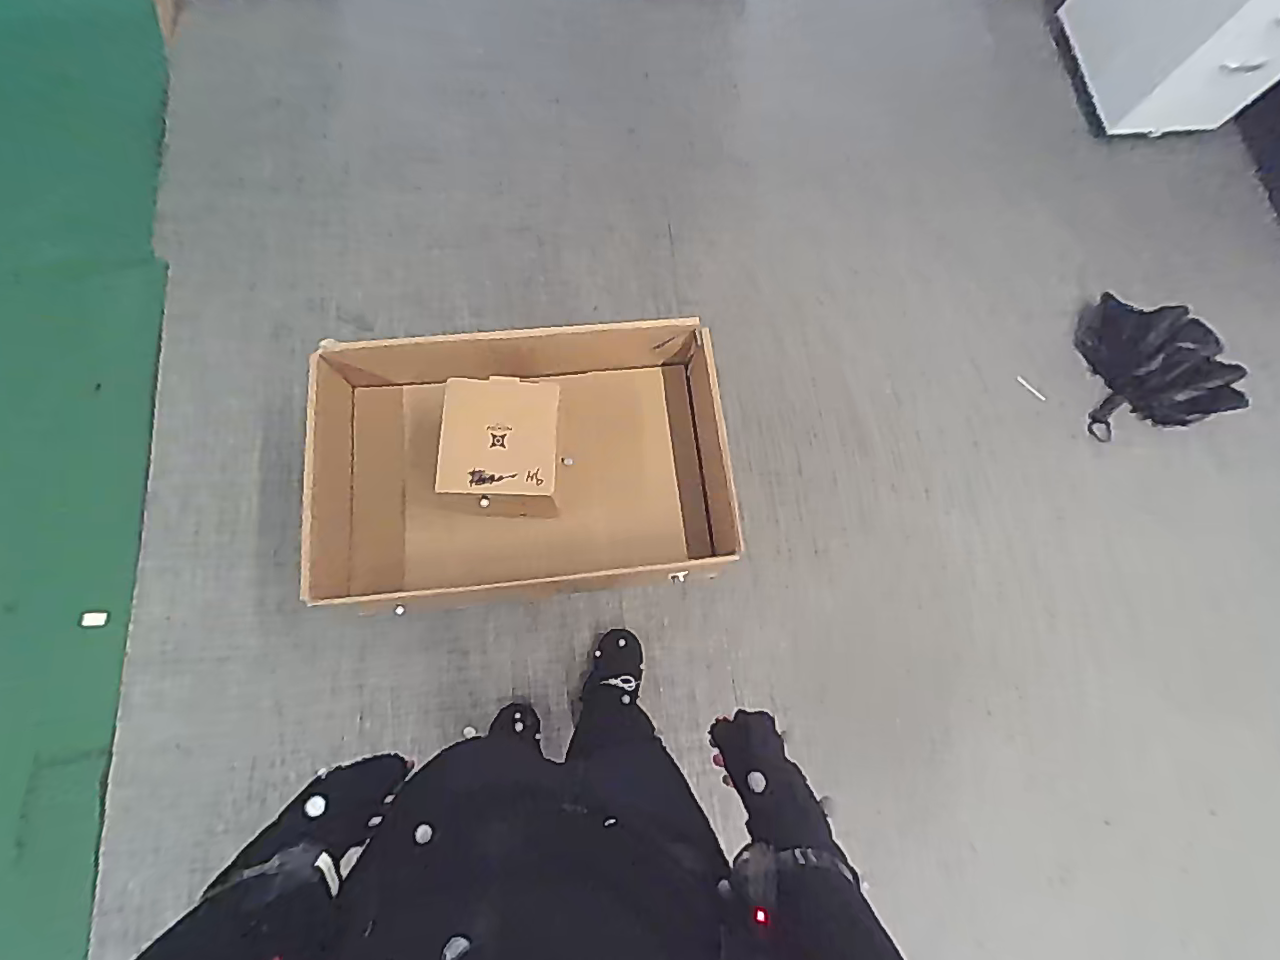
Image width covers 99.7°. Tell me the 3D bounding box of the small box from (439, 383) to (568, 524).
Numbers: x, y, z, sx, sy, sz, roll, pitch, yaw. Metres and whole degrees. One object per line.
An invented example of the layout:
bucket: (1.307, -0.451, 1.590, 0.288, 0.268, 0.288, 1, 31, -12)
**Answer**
small box: (-0.204, -0.035, 0.857, 0.168, 0.176, 0.179, 2, 74, -3)
